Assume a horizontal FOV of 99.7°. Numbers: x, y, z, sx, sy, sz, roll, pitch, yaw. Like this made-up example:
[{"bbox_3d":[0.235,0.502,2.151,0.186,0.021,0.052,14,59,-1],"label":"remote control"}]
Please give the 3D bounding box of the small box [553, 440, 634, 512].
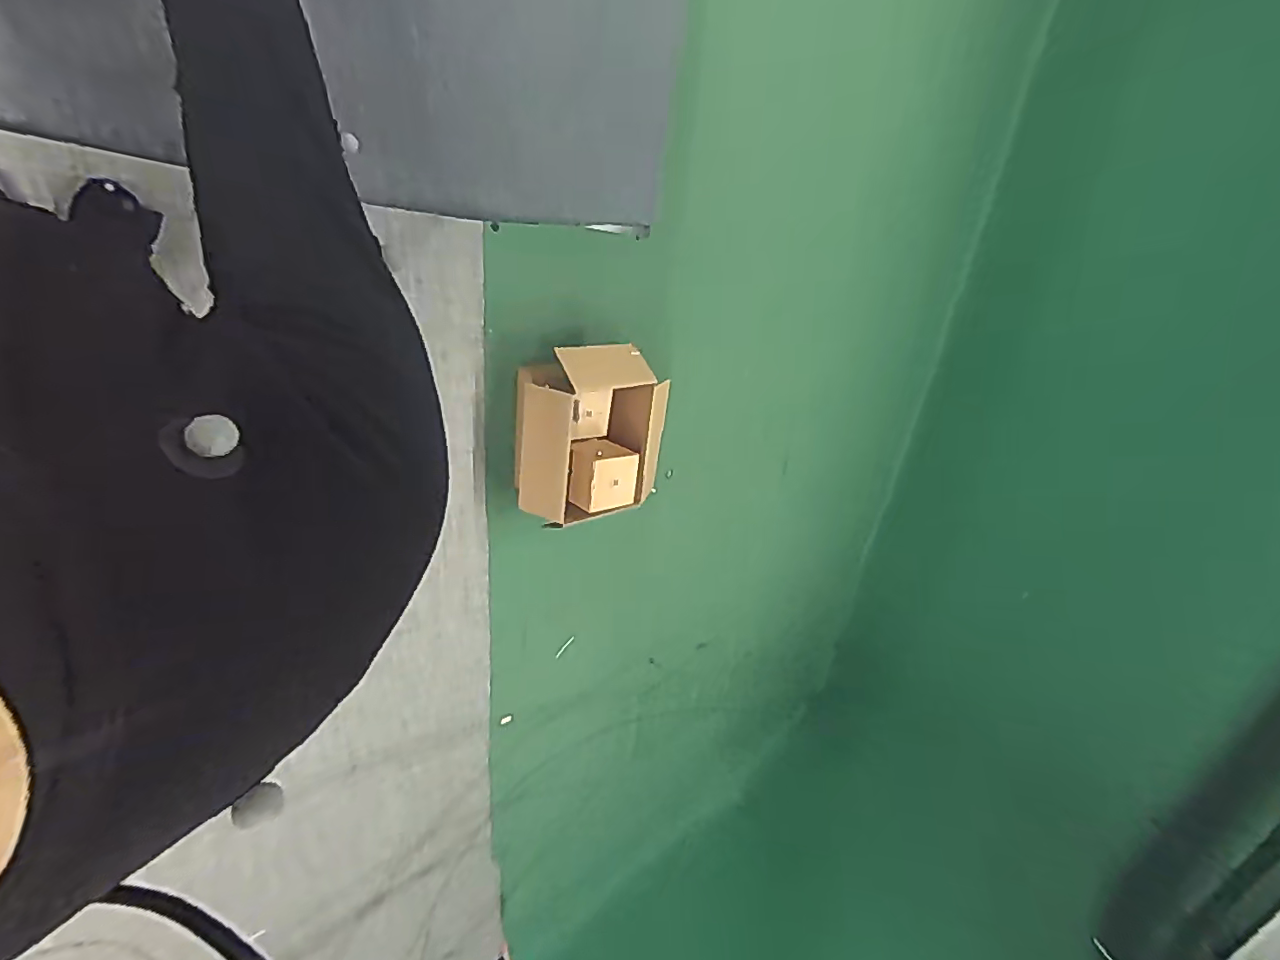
[{"bbox_3d":[-0.145,-0.020,1.669,0.179,0.176,0.168,-10,117,-42],"label":"small box"}]
